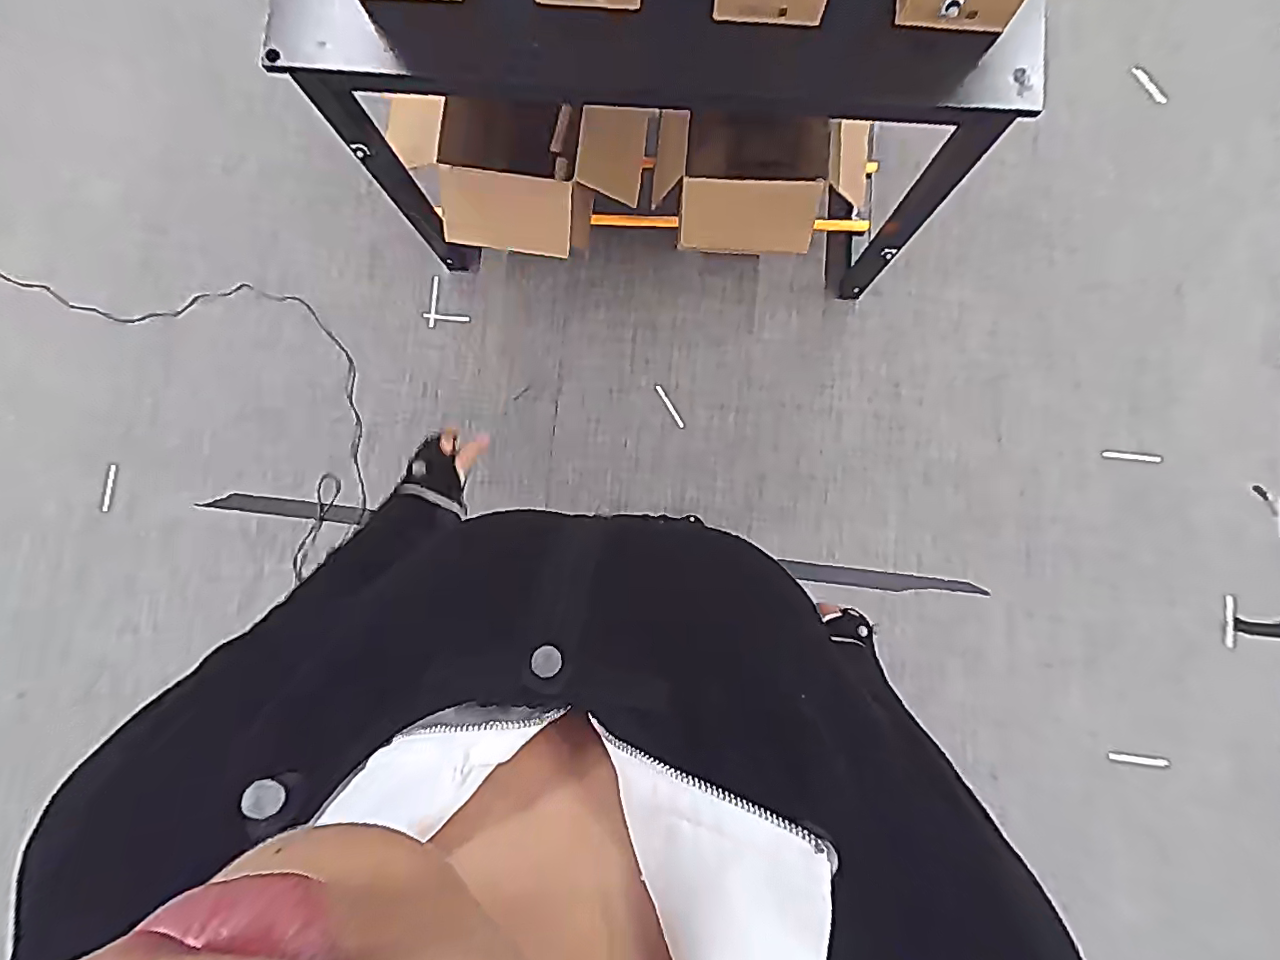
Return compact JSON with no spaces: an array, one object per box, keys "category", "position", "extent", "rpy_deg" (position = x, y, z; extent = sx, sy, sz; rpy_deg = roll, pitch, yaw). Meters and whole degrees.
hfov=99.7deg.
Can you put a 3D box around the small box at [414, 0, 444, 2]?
[{"category":"small box","position":[-0.363,-0.847,0.784],"extent":[0.179,0.176,0.168],"rpy_deg":[4,85,1]}]

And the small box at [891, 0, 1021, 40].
[{"category":"small box","position":[0.472,-0.776,0.760],"extent":[0.168,0.176,0.179],"rpy_deg":[6,86,4]}]

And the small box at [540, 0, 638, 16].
[{"category":"small box","position":[-0.079,-0.831,0.778],"extent":[0.168,0.176,0.179],"rpy_deg":[6,86,2]}]

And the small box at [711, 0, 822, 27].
[{"category":"small box","position":[0.195,-0.796,0.769],"extent":[0.168,0.176,0.179],"rpy_deg":[5,86,2]}]
